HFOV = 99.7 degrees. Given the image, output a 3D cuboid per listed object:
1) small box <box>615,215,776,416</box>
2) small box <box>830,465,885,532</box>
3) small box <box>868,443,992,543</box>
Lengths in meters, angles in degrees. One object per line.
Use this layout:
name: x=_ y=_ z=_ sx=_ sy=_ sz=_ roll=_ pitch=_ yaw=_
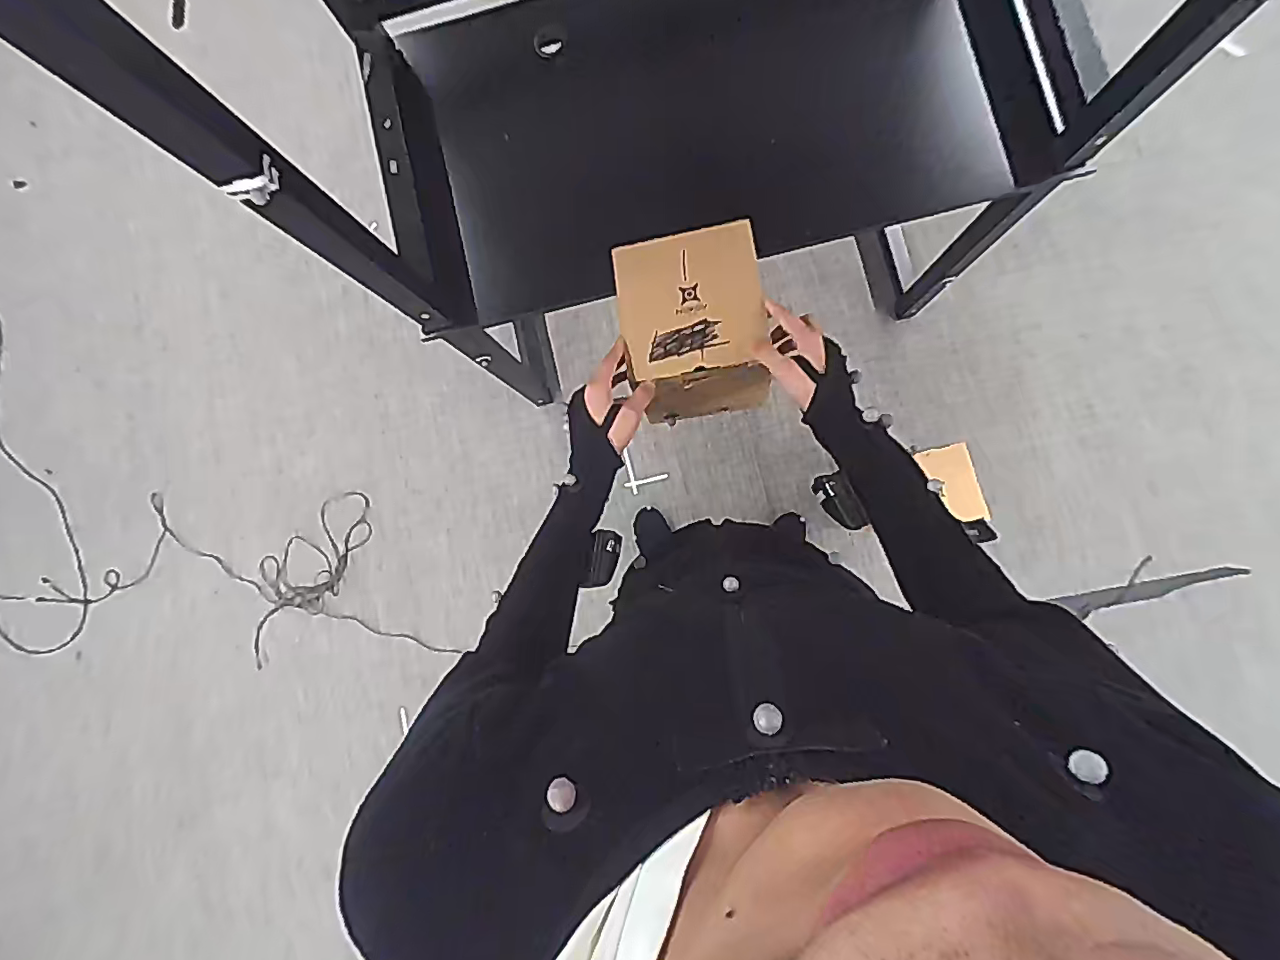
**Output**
small box: x=0.073 y=-0.189 z=0.681 sx=0.168 sy=0.176 sz=0.179 roll=-9 pitch=78 yaw=8
small box: x=0.659 y=0.046 z=1.525 sx=0.179 sy=0.176 sz=0.168 roll=-15 pitch=85 yaw=5
small box: x=0.632 y=0.030 z=1.199 sx=0.168 sy=0.176 sz=0.179 roll=-17 pitch=85 yaw=5
